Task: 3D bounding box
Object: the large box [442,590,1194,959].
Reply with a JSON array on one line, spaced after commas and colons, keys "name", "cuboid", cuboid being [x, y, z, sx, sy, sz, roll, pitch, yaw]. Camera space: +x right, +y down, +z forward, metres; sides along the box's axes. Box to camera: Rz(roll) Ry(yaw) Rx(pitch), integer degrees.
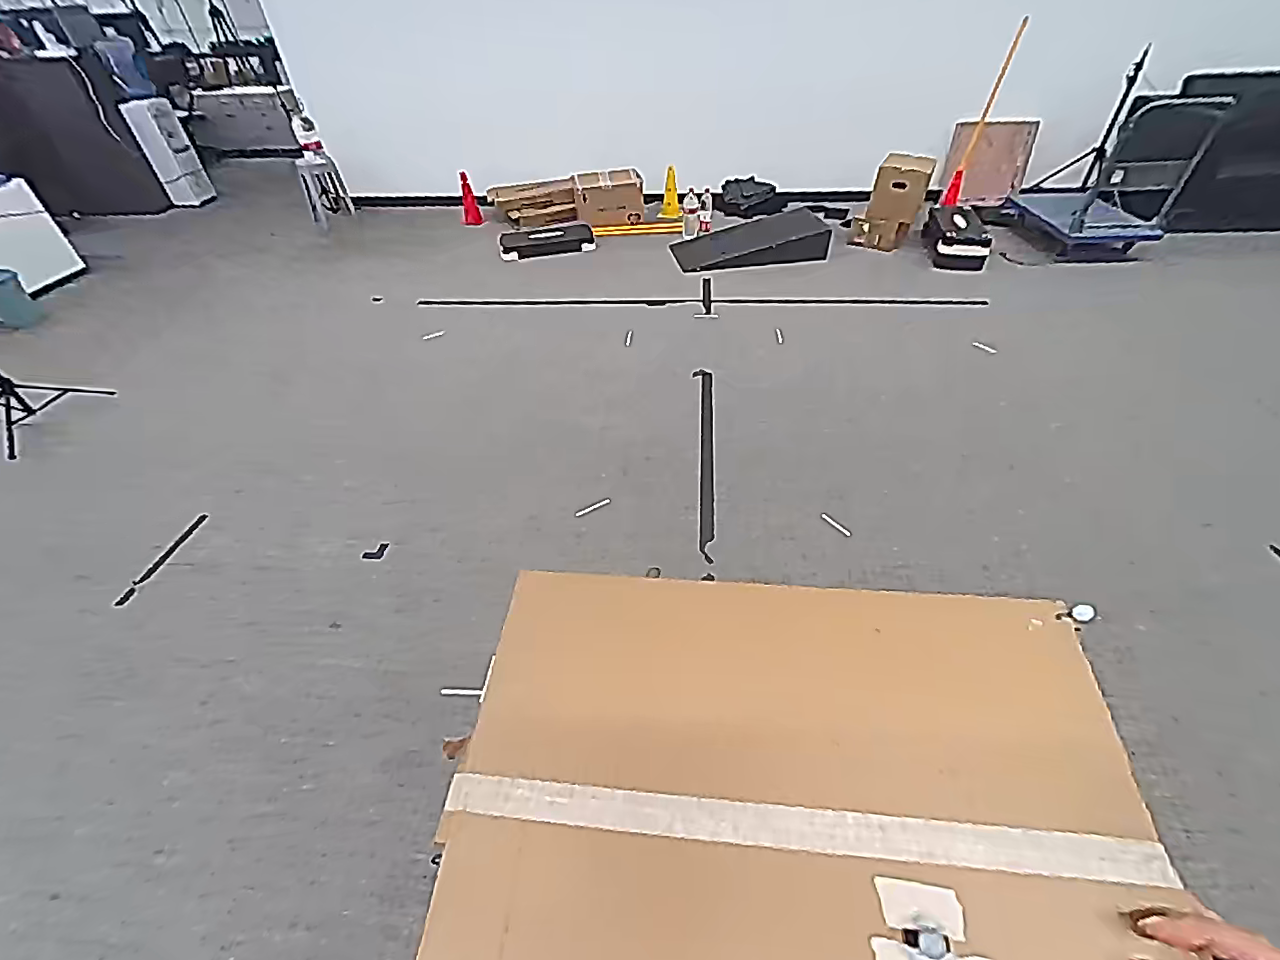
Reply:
[{"name": "large box", "cuboid": [0.100, 0.305, 0.440, 0.408, 0.320, 0.320, 2, 53, 6]}]
